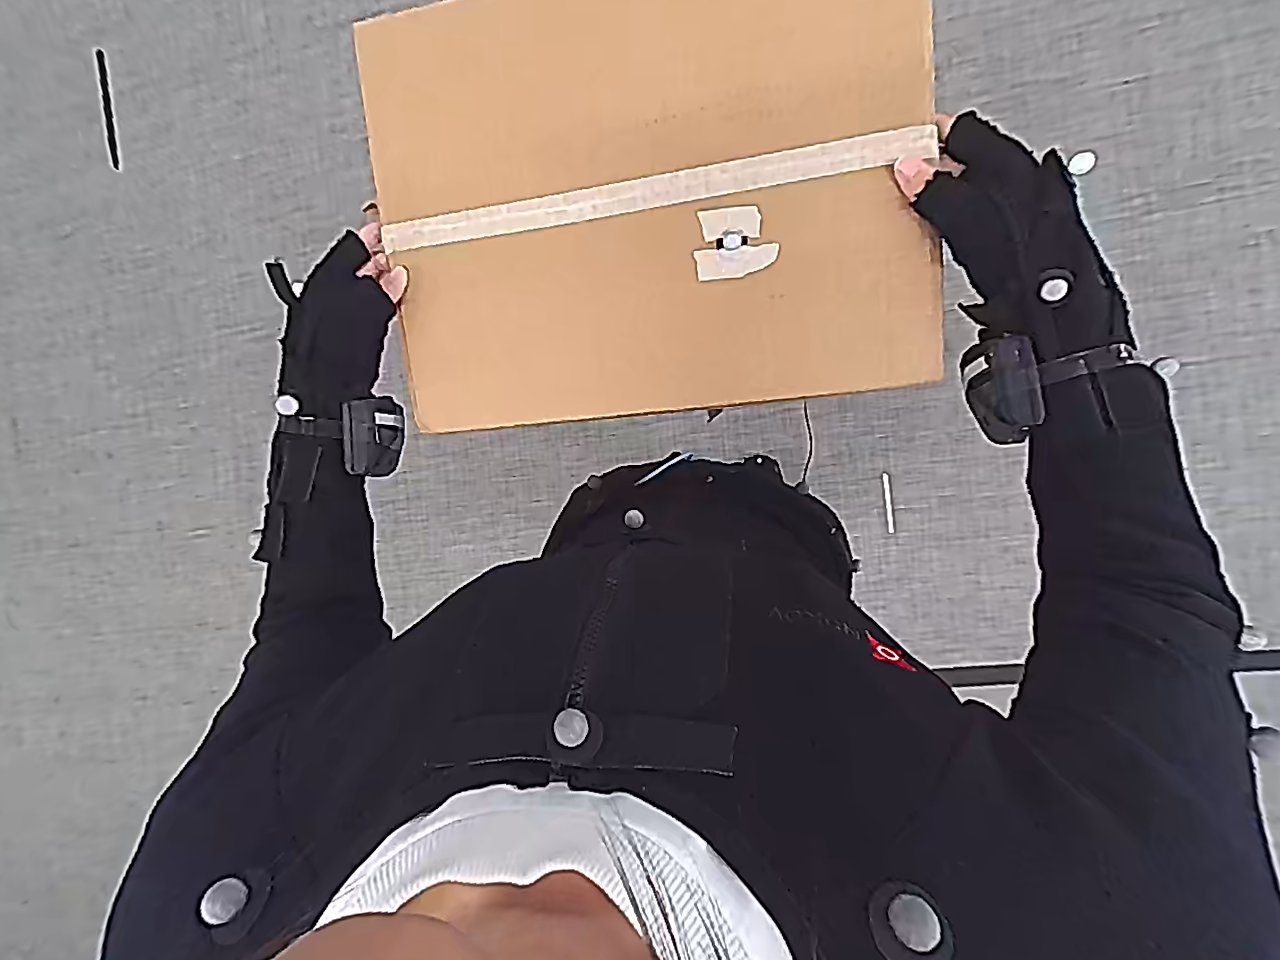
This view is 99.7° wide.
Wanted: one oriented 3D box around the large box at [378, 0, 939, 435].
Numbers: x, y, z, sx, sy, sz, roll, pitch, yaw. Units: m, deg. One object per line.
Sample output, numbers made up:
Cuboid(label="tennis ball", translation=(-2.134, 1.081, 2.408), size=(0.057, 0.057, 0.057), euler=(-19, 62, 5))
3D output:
Cuboid(label="large box", translation=(0.026, -0.229, 0.552), size=(0.408, 0.320, 0.320), euler=(-5, 98, 10))
